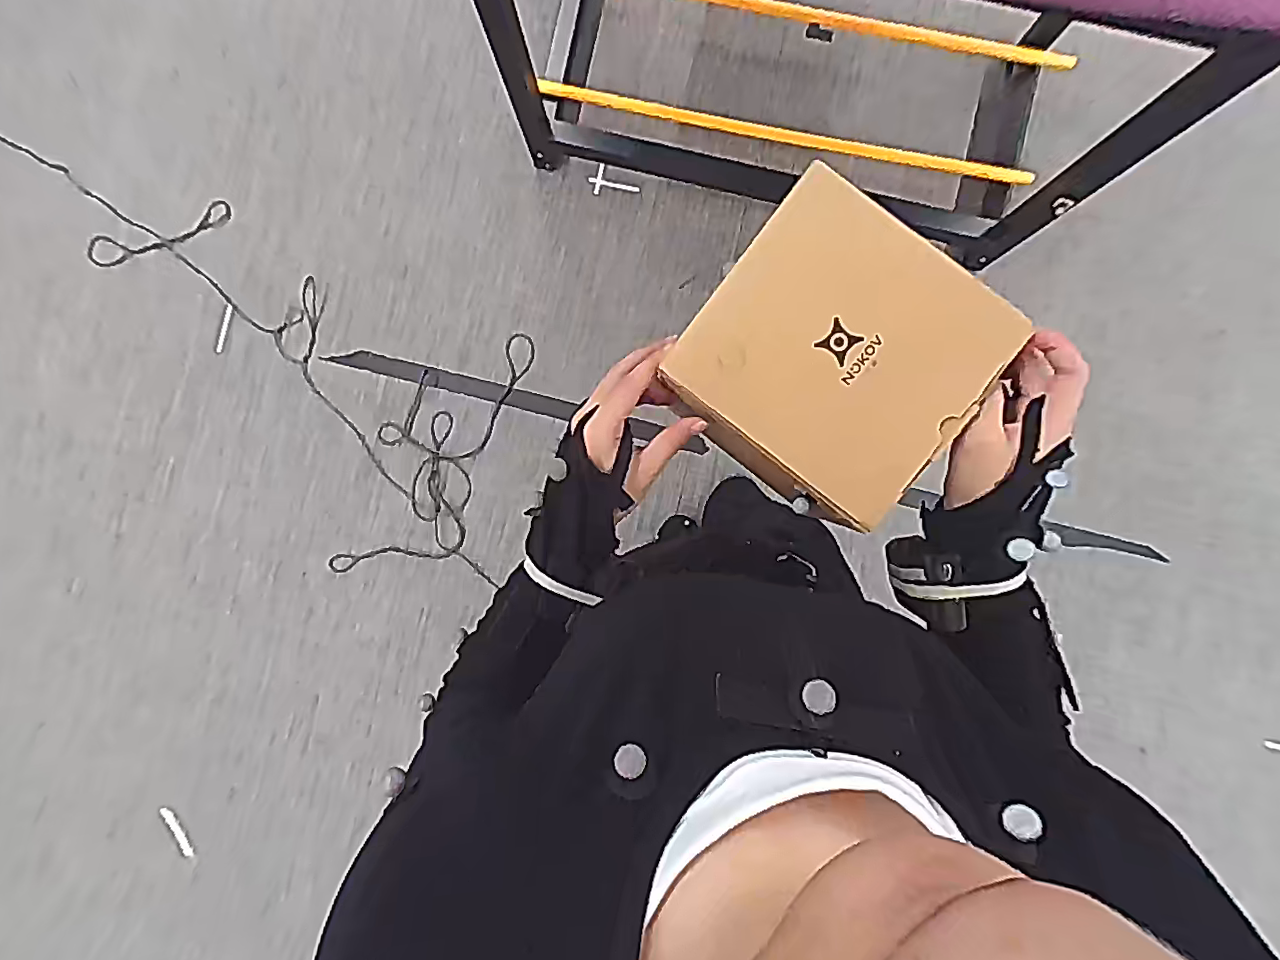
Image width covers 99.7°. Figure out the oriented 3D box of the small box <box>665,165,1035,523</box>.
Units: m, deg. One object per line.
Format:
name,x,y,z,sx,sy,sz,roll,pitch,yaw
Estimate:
small box,0.134,-0.087,0.422,0.179,0.176,0.168,37,93,1
